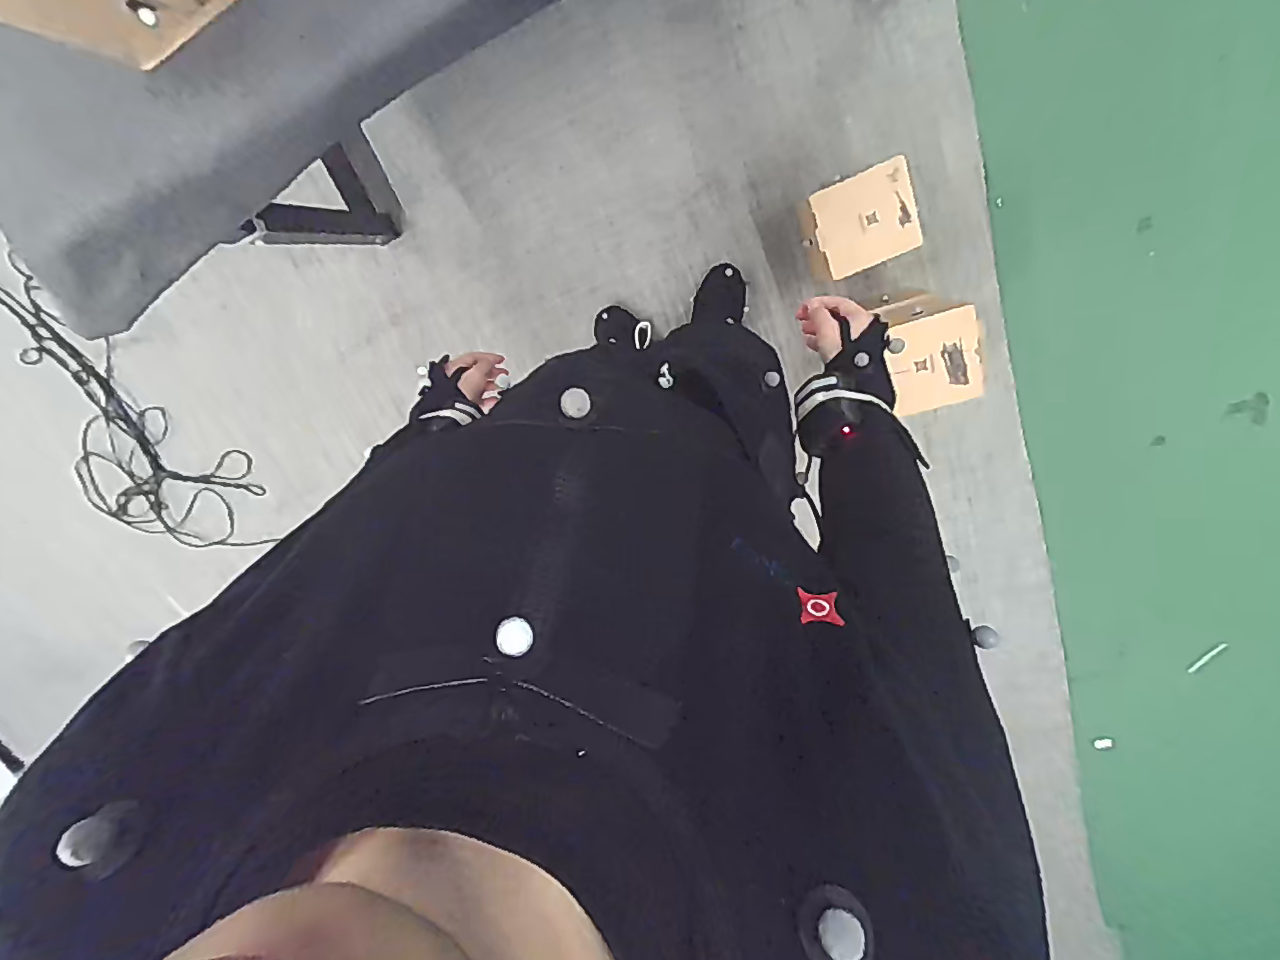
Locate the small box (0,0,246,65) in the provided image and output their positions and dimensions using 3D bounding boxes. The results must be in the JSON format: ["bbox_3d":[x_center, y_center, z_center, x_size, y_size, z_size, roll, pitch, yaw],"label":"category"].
[{"bbox_3d":[-0.444,-0.464,0.401,0.168,0.176,0.179,-22,109,14],"label":"small box"}]

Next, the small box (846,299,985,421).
[{"bbox_3d":[0.506,-0.229,1.010,0.179,0.176,0.168,-15,109,13],"label":"small box"}]

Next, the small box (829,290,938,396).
[{"bbox_3d":[0.523,-0.299,1.158,0.179,0.176,0.168,-14,110,13],"label":"small box"}]
